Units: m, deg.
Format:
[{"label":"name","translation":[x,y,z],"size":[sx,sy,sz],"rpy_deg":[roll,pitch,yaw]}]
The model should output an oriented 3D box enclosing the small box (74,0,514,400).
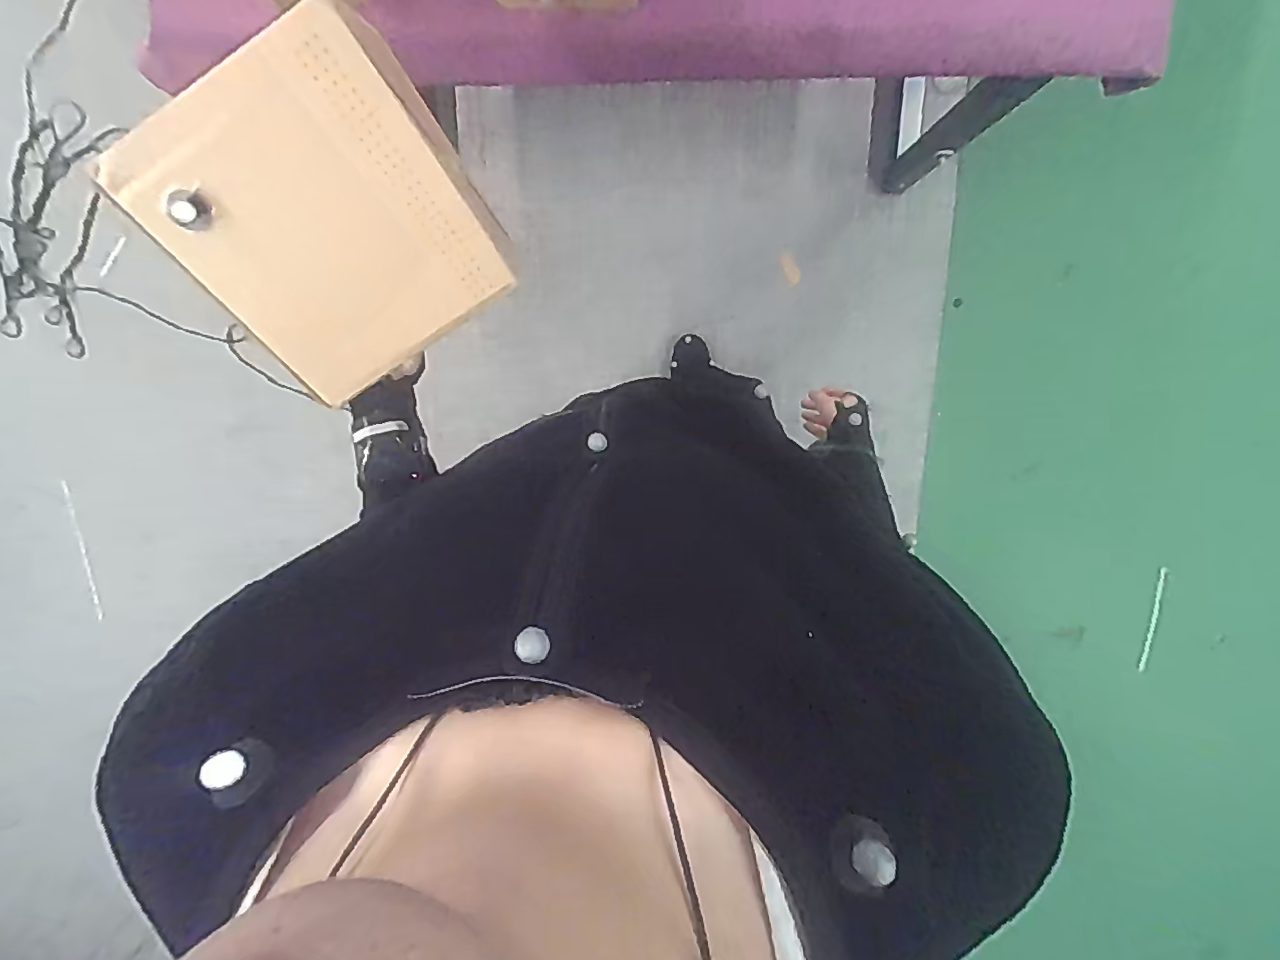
[{"label":"small box","translation":[-0.205,-0.196,0.386],"size":[0.176,0.168,0.179],"rpy_deg":[-29,125,6]}]
